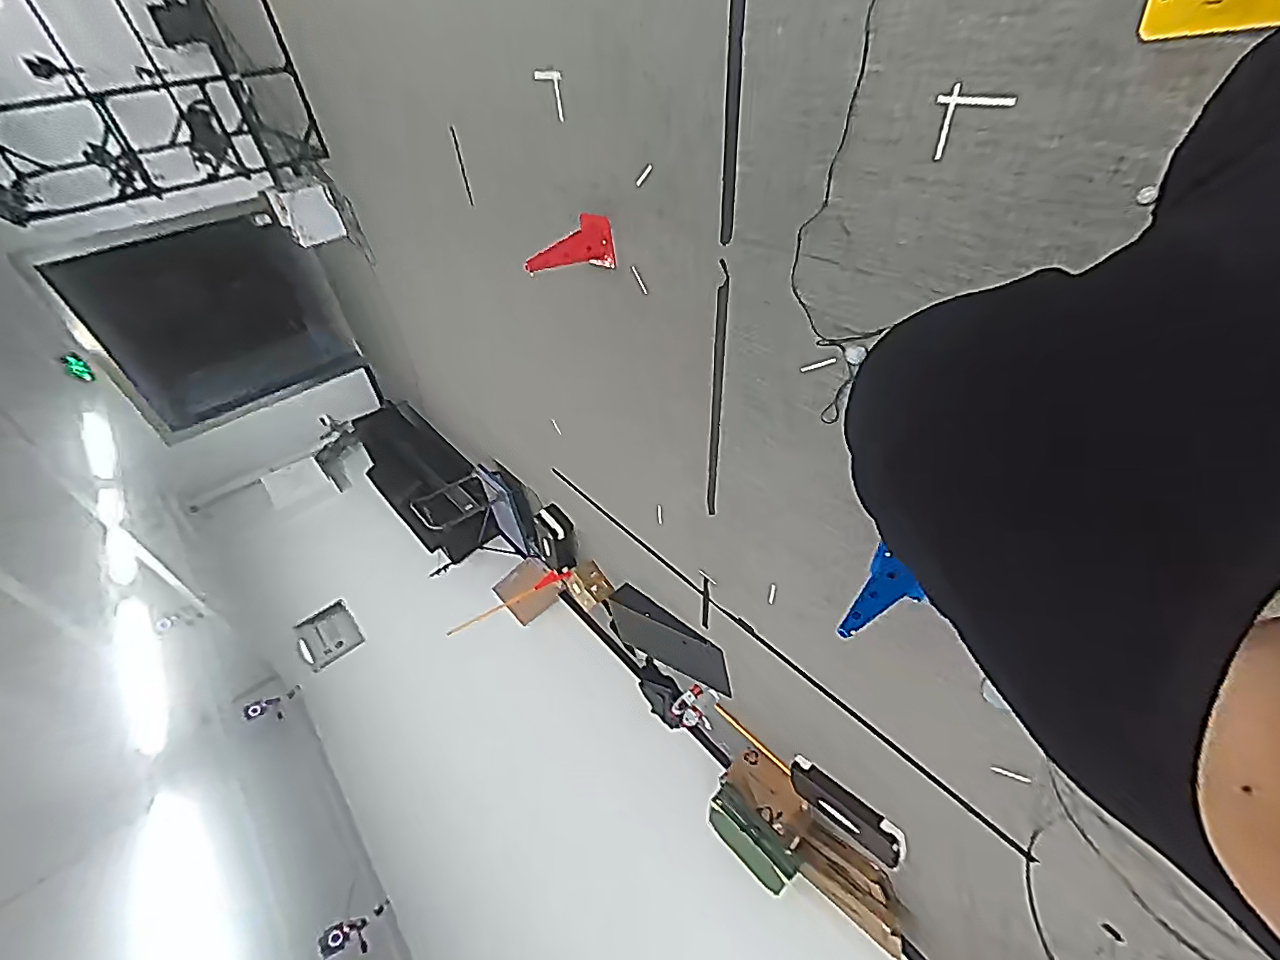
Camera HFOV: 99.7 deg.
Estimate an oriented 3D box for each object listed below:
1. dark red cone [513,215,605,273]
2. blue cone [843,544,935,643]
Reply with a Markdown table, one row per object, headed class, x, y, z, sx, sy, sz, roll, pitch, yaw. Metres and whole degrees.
| class | x | y | z | sx | sy | sz | roll | pitch | yaw |
| --- | --- | --- | --- | --- | --- | --- | --- | --- | --- |
| dark red cone | -0.335 | -0.907 | 2.167 | 0.201 | 0.394 | 0.202 | 30 | 143 | 41 |
| blue cone | 0.782 | 0.399 | 1.784 | 0.192 | 0.380 | 0.193 | 36 | 147 | 34 |
